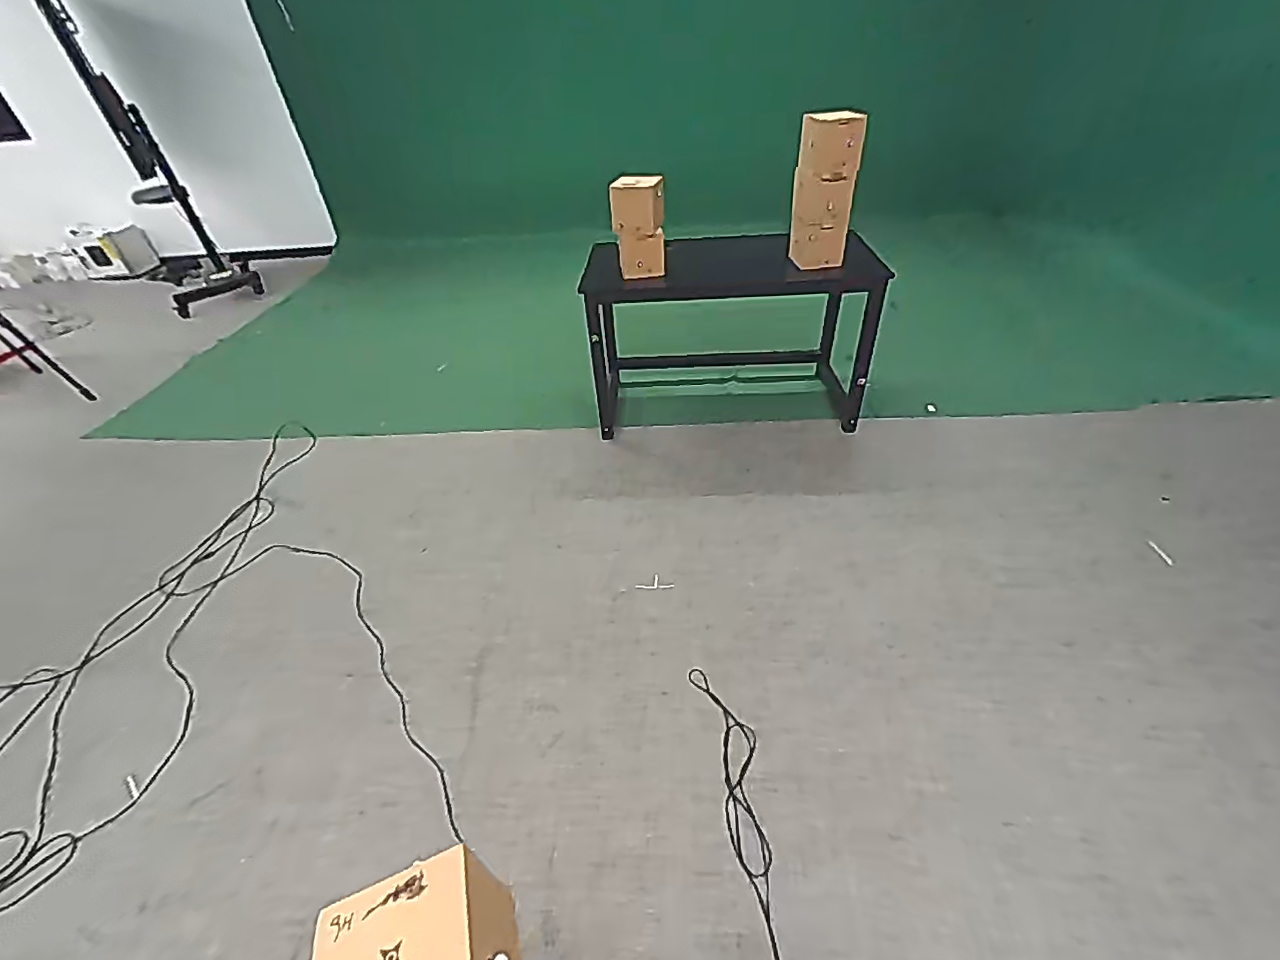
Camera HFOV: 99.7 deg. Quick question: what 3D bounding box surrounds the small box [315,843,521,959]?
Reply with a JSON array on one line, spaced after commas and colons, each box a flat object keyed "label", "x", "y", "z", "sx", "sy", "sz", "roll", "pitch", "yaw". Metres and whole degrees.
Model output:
[{"label": "small box", "x": -0.230, "y": 0.549, "z": 0.587, "sx": 0.168, "sy": 0.176, "sz": 0.179, "roll": -21, "pitch": 37, "yaw": -9}]

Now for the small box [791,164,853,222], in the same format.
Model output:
[{"label": "small box", "x": 0.677, "y": -1.084, "z": 2.035, "sx": 0.168, "sy": 0.176, "sz": 0.179, "roll": -7, "pitch": 39, "yaw": -1}]

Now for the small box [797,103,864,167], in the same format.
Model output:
[{"label": "small box", "x": 0.672, "y": -1.223, "z": 1.921, "sx": 0.168, "sy": 0.176, "sz": 0.179, "roll": -6, "pitch": 39, "yaw": -2}]

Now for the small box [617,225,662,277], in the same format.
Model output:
[{"label": "small box", "x": -0.004, "y": -0.938, "z": 2.189, "sx": 0.168, "sy": 0.176, "sz": 0.179, "roll": -6, "pitch": 41, "yaw": -3}]

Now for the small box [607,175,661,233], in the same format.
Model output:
[{"label": "small box", "x": -0.017, "y": -1.065, "z": 2.084, "sx": 0.168, "sy": 0.176, "sz": 0.179, "roll": 8, "pitch": 41, "yaw": 13}]
